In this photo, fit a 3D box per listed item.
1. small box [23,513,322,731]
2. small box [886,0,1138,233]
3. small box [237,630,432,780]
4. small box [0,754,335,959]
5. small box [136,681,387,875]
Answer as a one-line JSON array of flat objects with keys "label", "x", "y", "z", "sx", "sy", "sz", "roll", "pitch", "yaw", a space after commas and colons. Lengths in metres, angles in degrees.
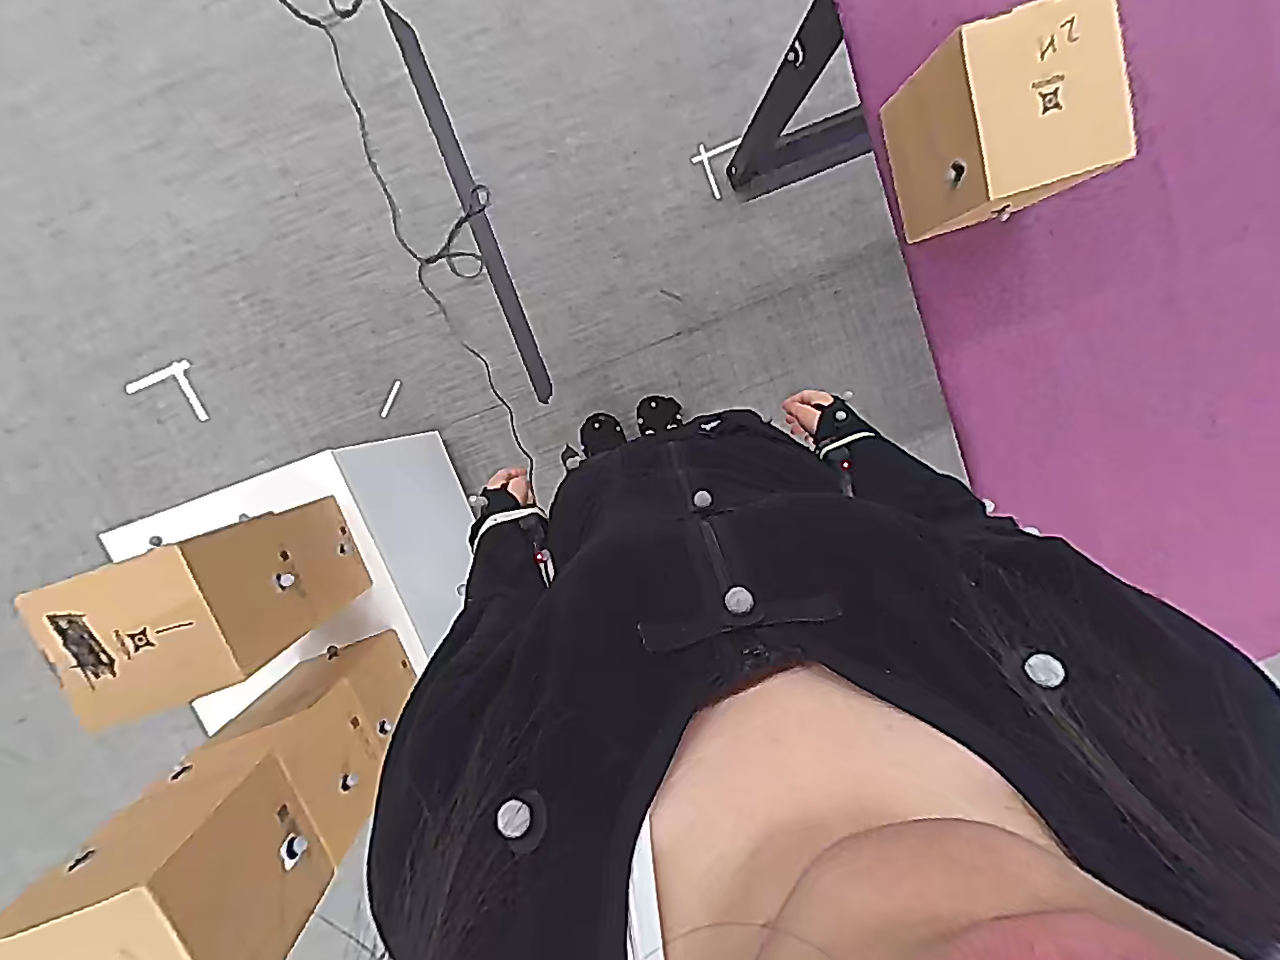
[{"label": "small box", "x": -0.528, "y": 0.154, "z": 0.641, "sx": 0.179, "sy": 0.176, "sz": 0.168, "roll": -19, "pitch": 100, "yaw": -1}, {"label": "small box", "x": 0.420, "y": -0.412, "z": 0.636, "sx": 0.168, "sy": 0.176, "sz": 0.179, "roll": -17, "pitch": 99, "yaw": -1}, {"label": "small box", "x": -0.459, "y": 0.363, "z": 0.843, "sx": 0.179, "sy": 0.176, "sz": 0.168, "roll": -20, "pitch": 100, "yaw": 1}, {"label": "small box", "x": -0.444, "y": 0.409, "z": 0.522, "sx": 0.179, "sy": 0.176, "sz": 0.168, "roll": -22, "pitch": 100, "yaw": 0}, {"label": "small box", "x": -0.450, "y": 0.386, "z": 0.683, "sx": 0.179, "sy": 0.176, "sz": 0.168, "roll": -22, "pitch": 99, "yaw": 1}]
